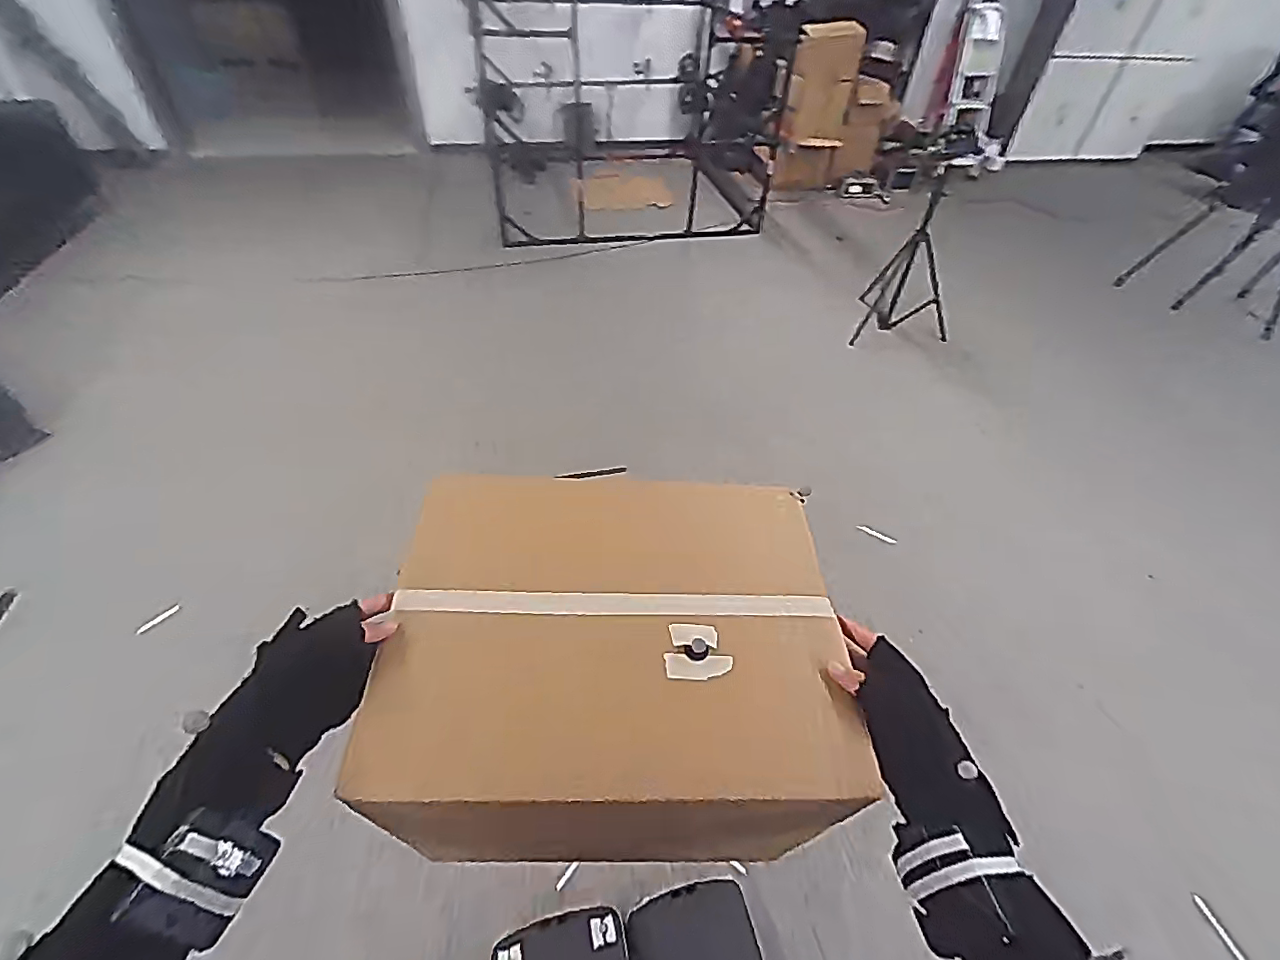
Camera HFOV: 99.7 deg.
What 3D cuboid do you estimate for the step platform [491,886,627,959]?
[{"bbox_3d":[-0.119,1.207,1.035,0.286,0.204,0.684,-9,46,-12],"label":"step platform"}]

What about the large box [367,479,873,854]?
[{"bbox_3d":[-0.025,0.221,0.624,0.408,0.320,0.320,3,48,-4],"label":"large box"}]
